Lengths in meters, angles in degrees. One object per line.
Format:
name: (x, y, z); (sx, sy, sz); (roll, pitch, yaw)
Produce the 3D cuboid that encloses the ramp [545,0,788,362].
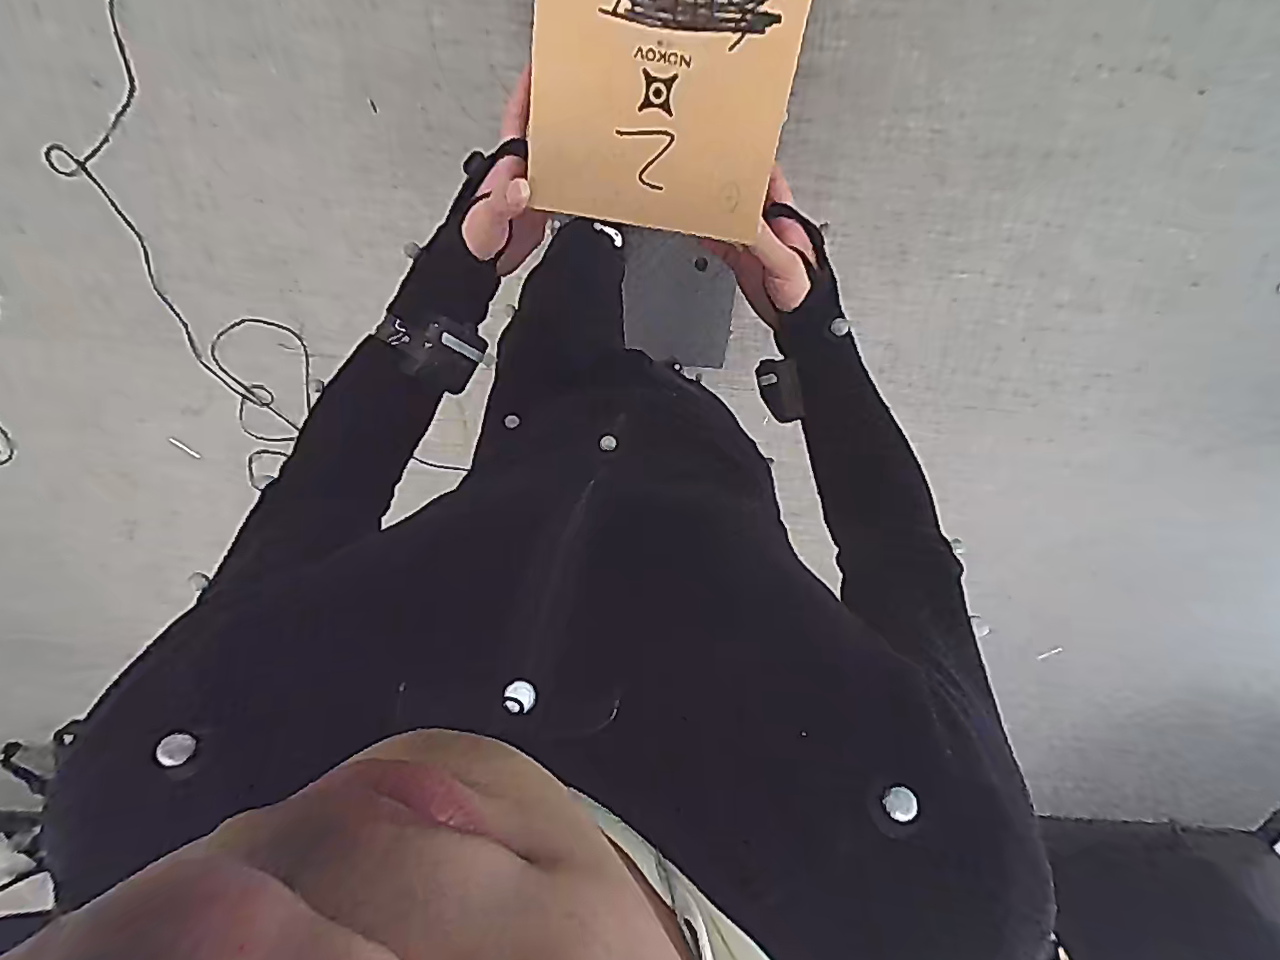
ramp: (0.040, -0.744, 1.256); (0.509, 0.206, 0.991); (1, 119, -1)
